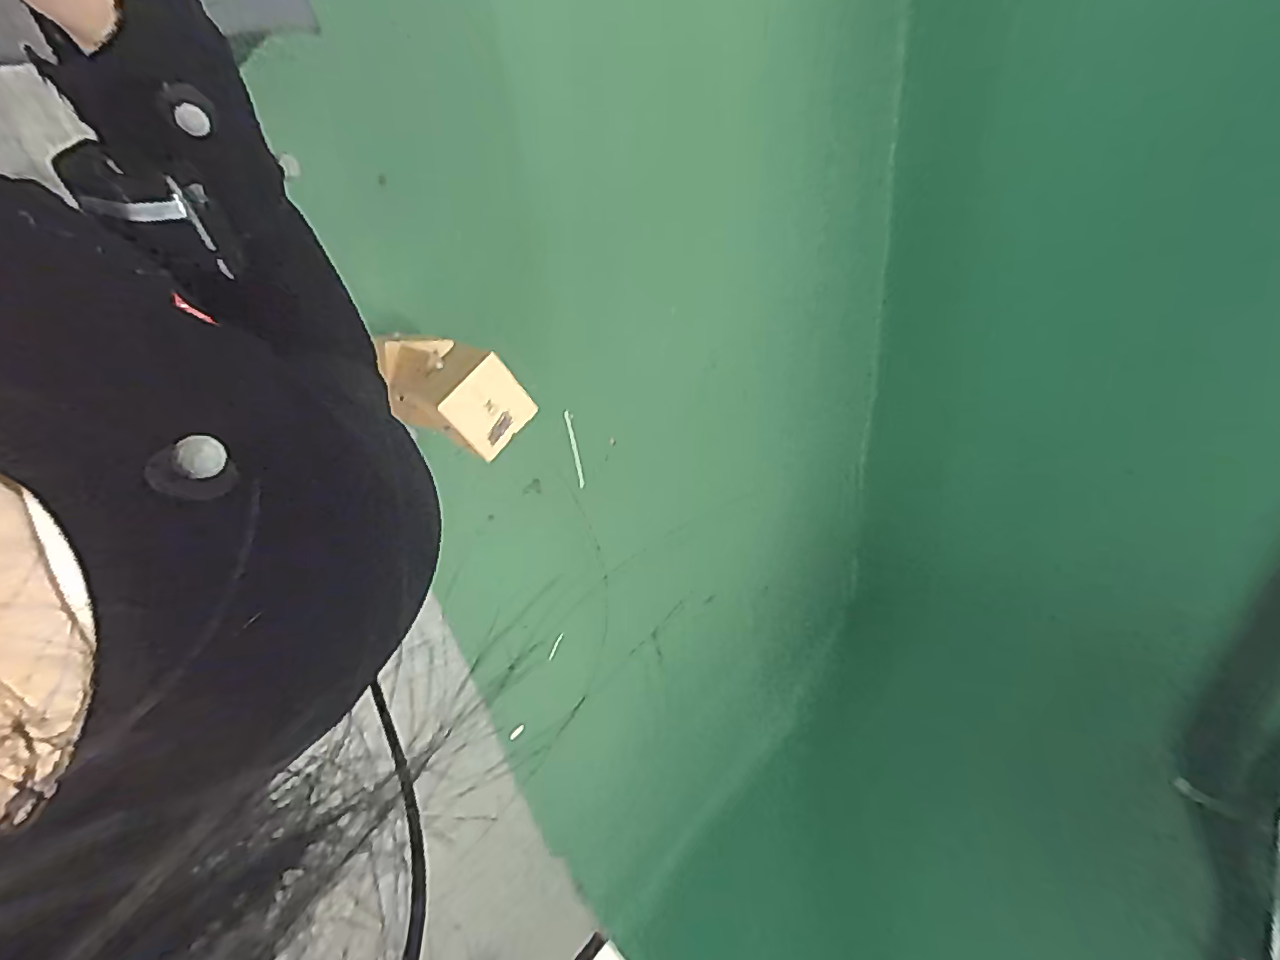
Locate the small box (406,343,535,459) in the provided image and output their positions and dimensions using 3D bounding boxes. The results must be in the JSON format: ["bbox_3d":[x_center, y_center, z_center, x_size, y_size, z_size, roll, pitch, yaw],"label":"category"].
[{"bbox_3d":[-0.372,-0.179,1.190,0.168,0.176,0.179,-51,136,-17],"label":"small box"}]

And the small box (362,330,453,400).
[{"bbox_3d":[-0.600,-0.294,1.395,0.179,0.176,0.168,-16,118,-42],"label":"small box"}]

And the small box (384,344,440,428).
[{"bbox_3d":[-0.486,-0.219,1.302,0.179,0.176,0.168,13,99,-49],"label":"small box"}]
